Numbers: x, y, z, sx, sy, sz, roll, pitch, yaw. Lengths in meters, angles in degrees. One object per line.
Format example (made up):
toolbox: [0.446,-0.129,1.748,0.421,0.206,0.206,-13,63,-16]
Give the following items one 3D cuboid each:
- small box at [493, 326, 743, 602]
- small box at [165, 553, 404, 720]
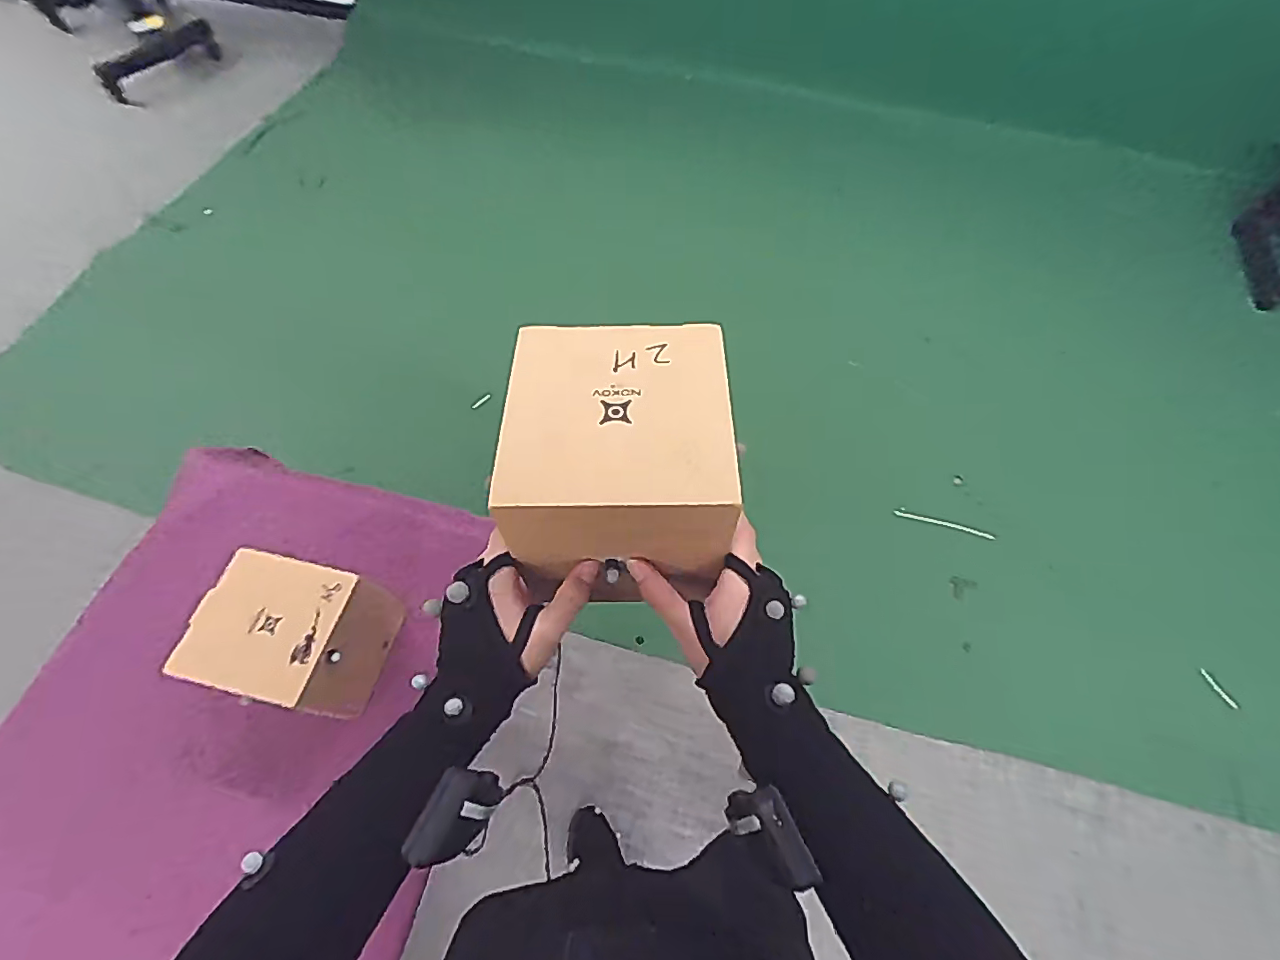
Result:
small box: [-0.010,-0.006,0.455,0.168,0.176,0.179,0,55,1]
small box: [-0.461,0.219,0.736,0.179,0.176,0.168,11,63,7]
